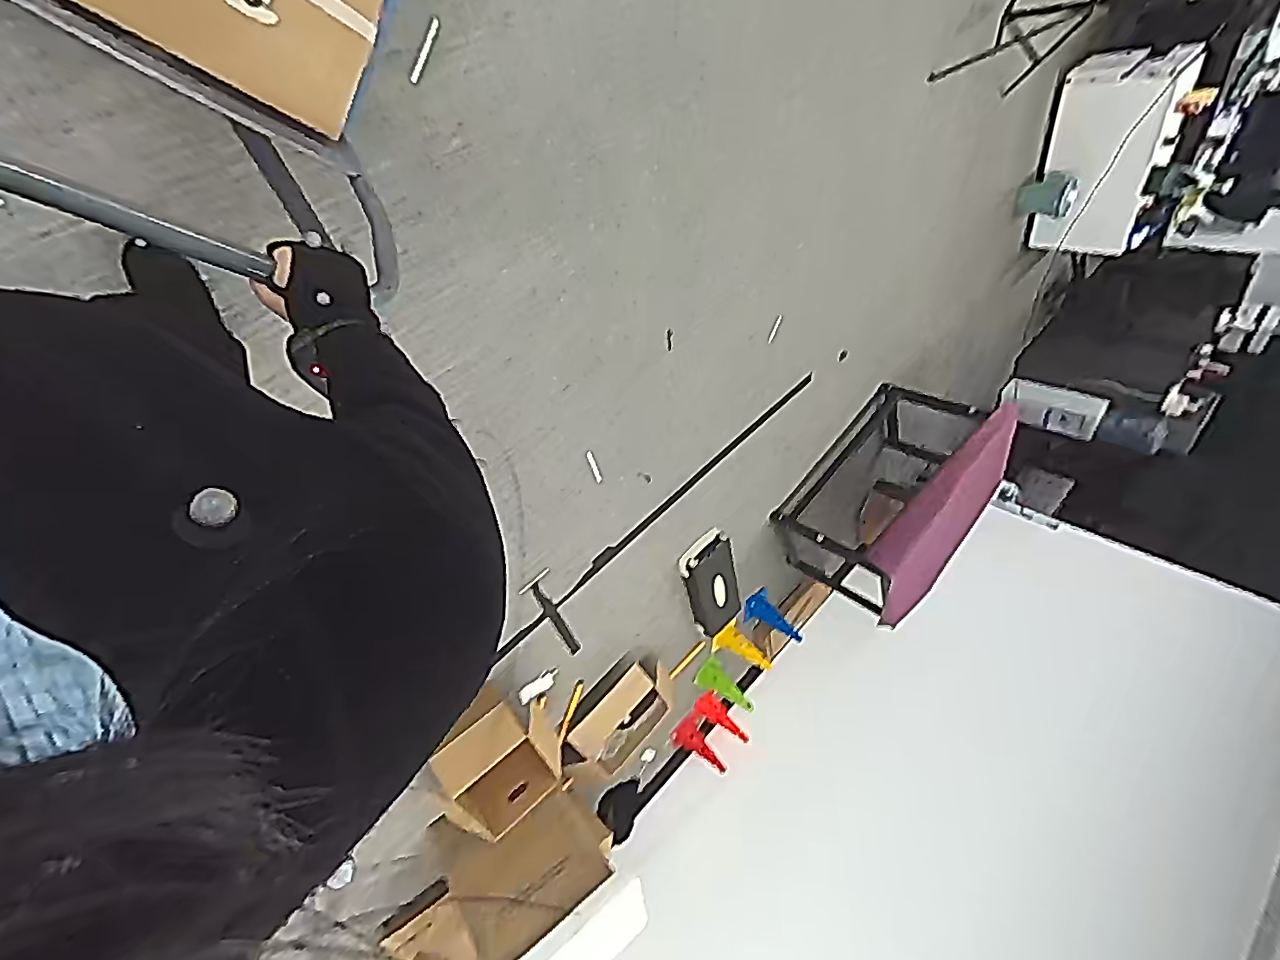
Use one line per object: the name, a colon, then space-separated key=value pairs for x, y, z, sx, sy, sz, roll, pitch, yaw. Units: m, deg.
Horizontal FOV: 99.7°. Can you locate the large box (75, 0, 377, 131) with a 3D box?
large box: x=-0.602 y=-0.764 z=0.715 sx=0.408 sy=0.320 sz=0.320 roll=10 pitch=124 yaw=-47
